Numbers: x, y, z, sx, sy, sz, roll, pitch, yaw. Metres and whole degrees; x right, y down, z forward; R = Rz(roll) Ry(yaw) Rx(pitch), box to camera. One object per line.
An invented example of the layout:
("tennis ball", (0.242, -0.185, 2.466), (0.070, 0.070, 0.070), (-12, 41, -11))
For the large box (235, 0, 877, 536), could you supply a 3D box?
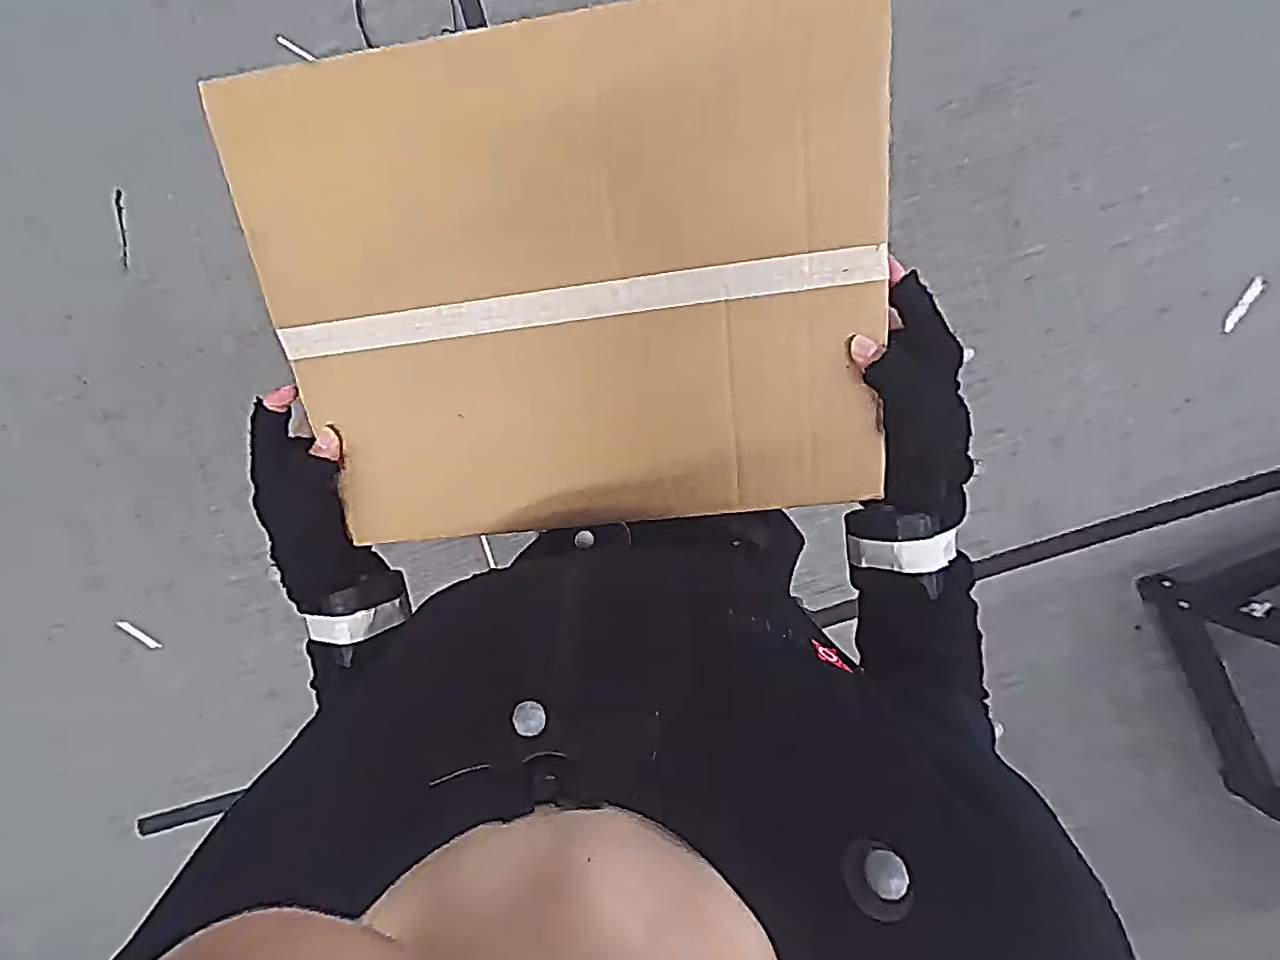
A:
("large box", (-0.036, -0.166, 0.508), (0.408, 0.320, 0.320), (-6, 109, 6))
